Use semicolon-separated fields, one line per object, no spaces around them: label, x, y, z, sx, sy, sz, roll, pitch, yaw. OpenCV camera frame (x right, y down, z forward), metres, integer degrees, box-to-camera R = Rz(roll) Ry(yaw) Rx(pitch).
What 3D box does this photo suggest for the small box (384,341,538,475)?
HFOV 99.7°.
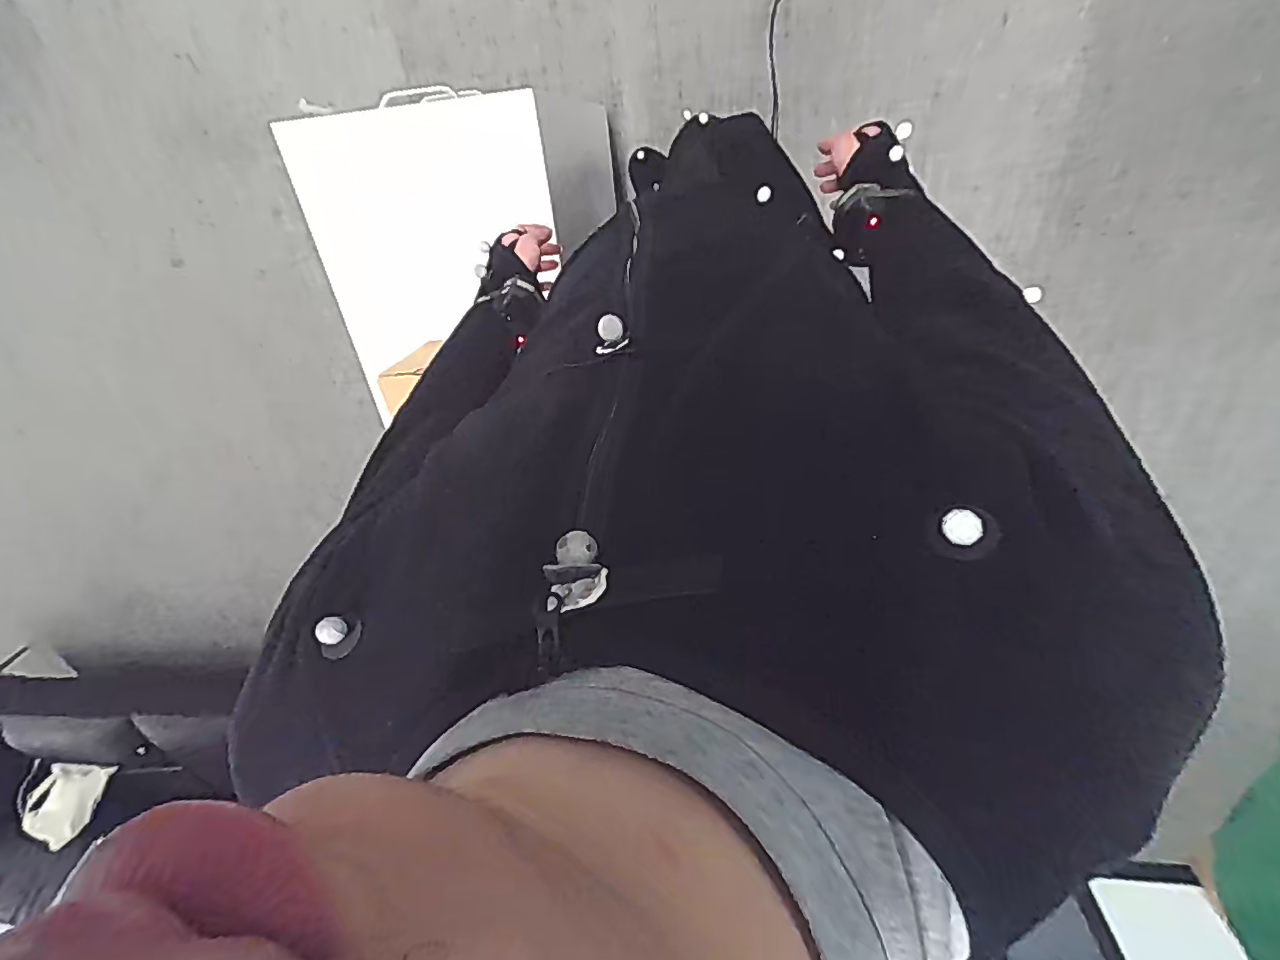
small box;-0.282;-0.124;0.894;0.168;0.176;0.179;0;122;10
